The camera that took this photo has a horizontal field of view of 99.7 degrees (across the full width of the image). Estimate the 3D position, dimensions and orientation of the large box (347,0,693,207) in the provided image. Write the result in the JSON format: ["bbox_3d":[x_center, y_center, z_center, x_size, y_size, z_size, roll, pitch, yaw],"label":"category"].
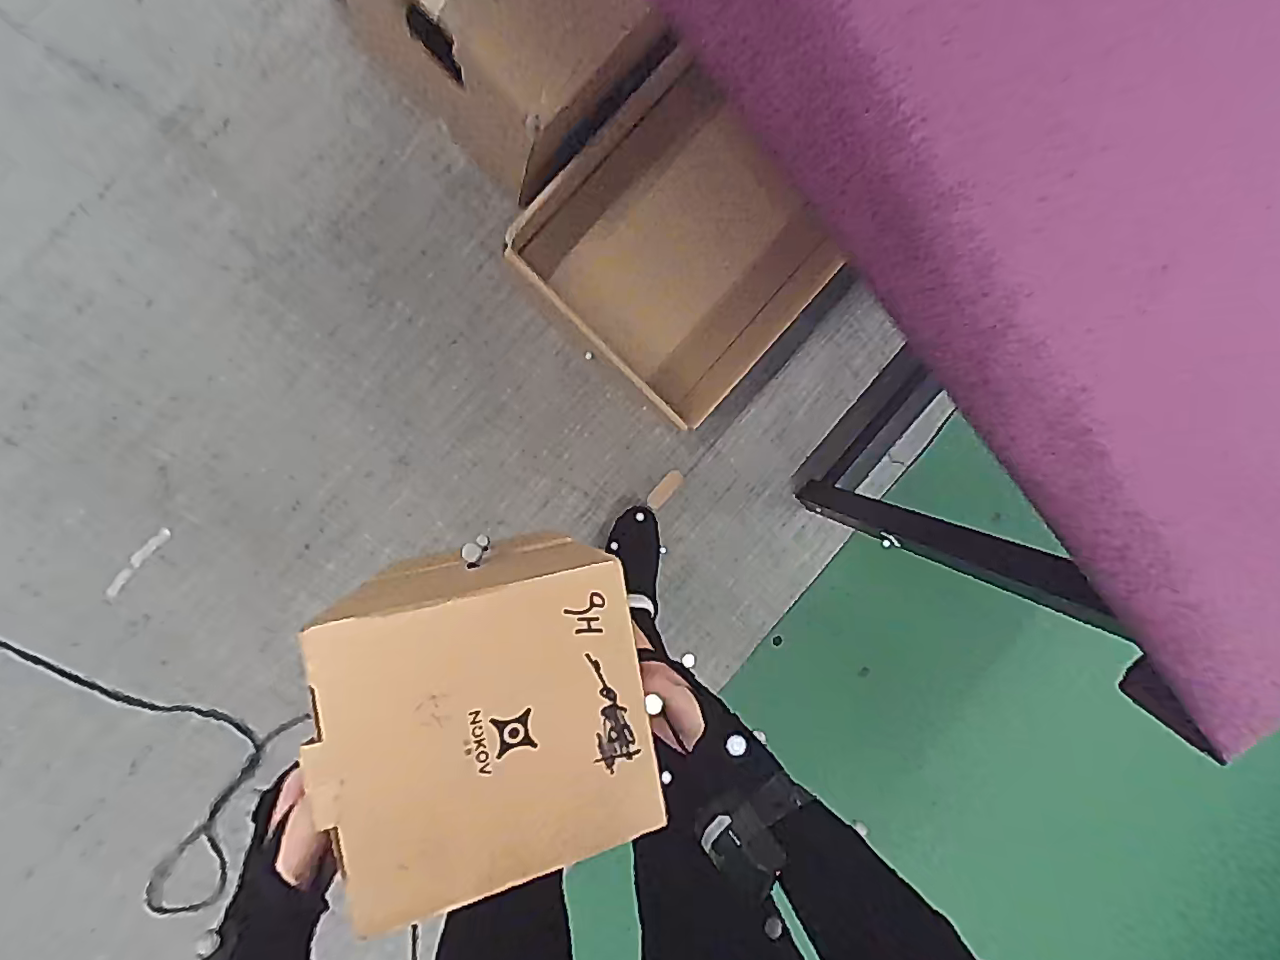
[{"bbox_3d":[-0.135,-0.664,0.721,0.320,0.320,0.408,42,88,-19],"label":"large box"}]

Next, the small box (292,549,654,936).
[{"bbox_3d":[-0.105,0.147,0.377,0.179,0.176,0.168,-9,90,-15],"label":"small box"}]

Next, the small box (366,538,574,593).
[{"bbox_3d":[-0.149,0.154,0.536,0.179,0.176,0.168,-10,89,-15],"label":"small box"}]
